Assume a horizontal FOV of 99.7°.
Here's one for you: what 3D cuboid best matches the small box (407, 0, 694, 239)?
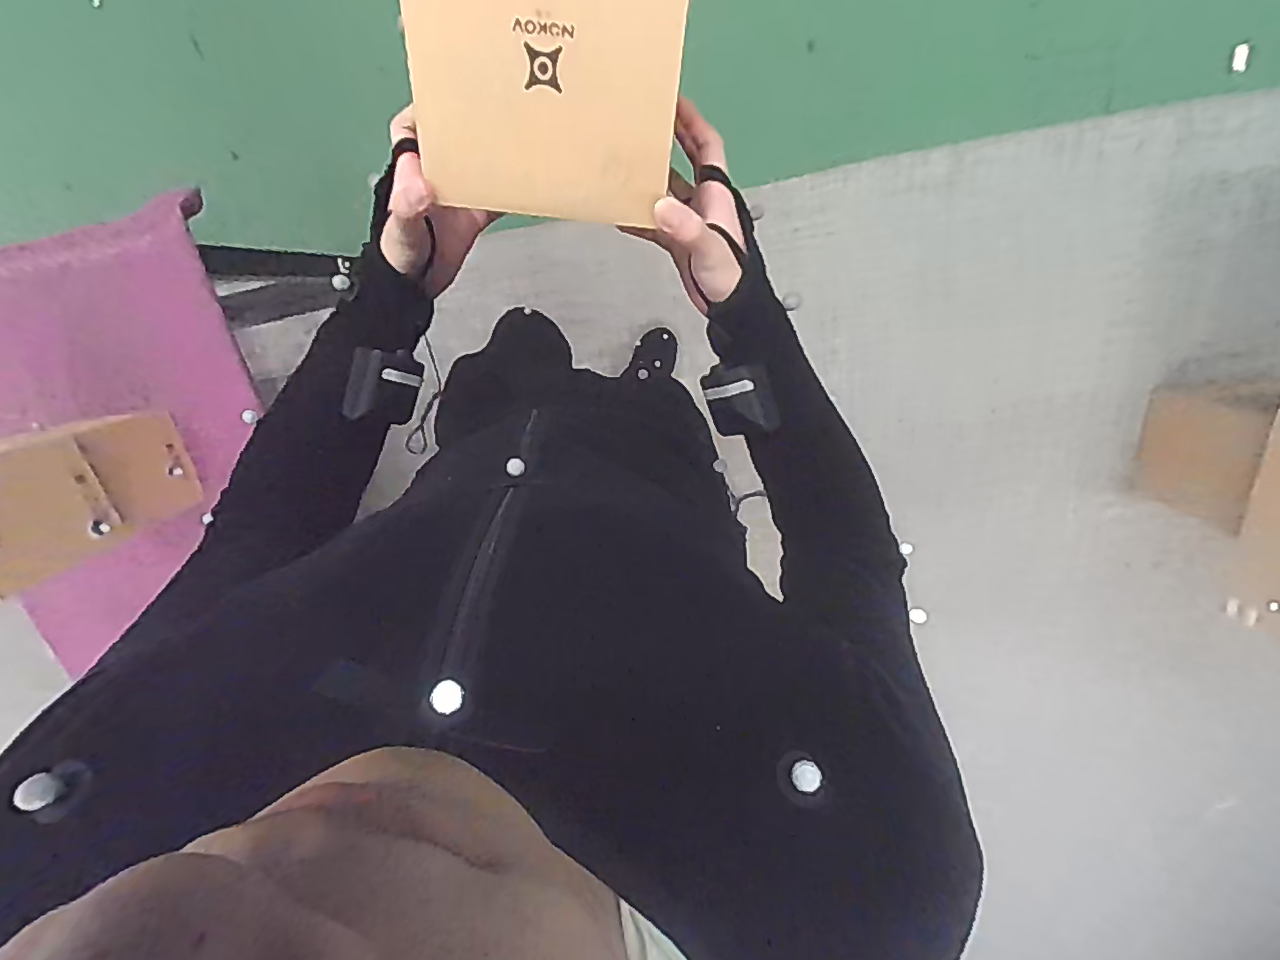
[{"bbox_3d":[-0.051,-0.295,0.392,0.168,0.176,0.179,6,126,-1],"label":"small box"}]

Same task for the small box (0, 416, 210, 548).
[{"bbox_3d":[-0.850,0.003,0.856,0.179,0.176,0.168,-7,110,7],"label":"small box"}]

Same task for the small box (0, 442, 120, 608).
[{"bbox_3d":[-0.842,0.059,0.700,0.179,0.176,0.168,-8,110,9],"label":"small box"}]
